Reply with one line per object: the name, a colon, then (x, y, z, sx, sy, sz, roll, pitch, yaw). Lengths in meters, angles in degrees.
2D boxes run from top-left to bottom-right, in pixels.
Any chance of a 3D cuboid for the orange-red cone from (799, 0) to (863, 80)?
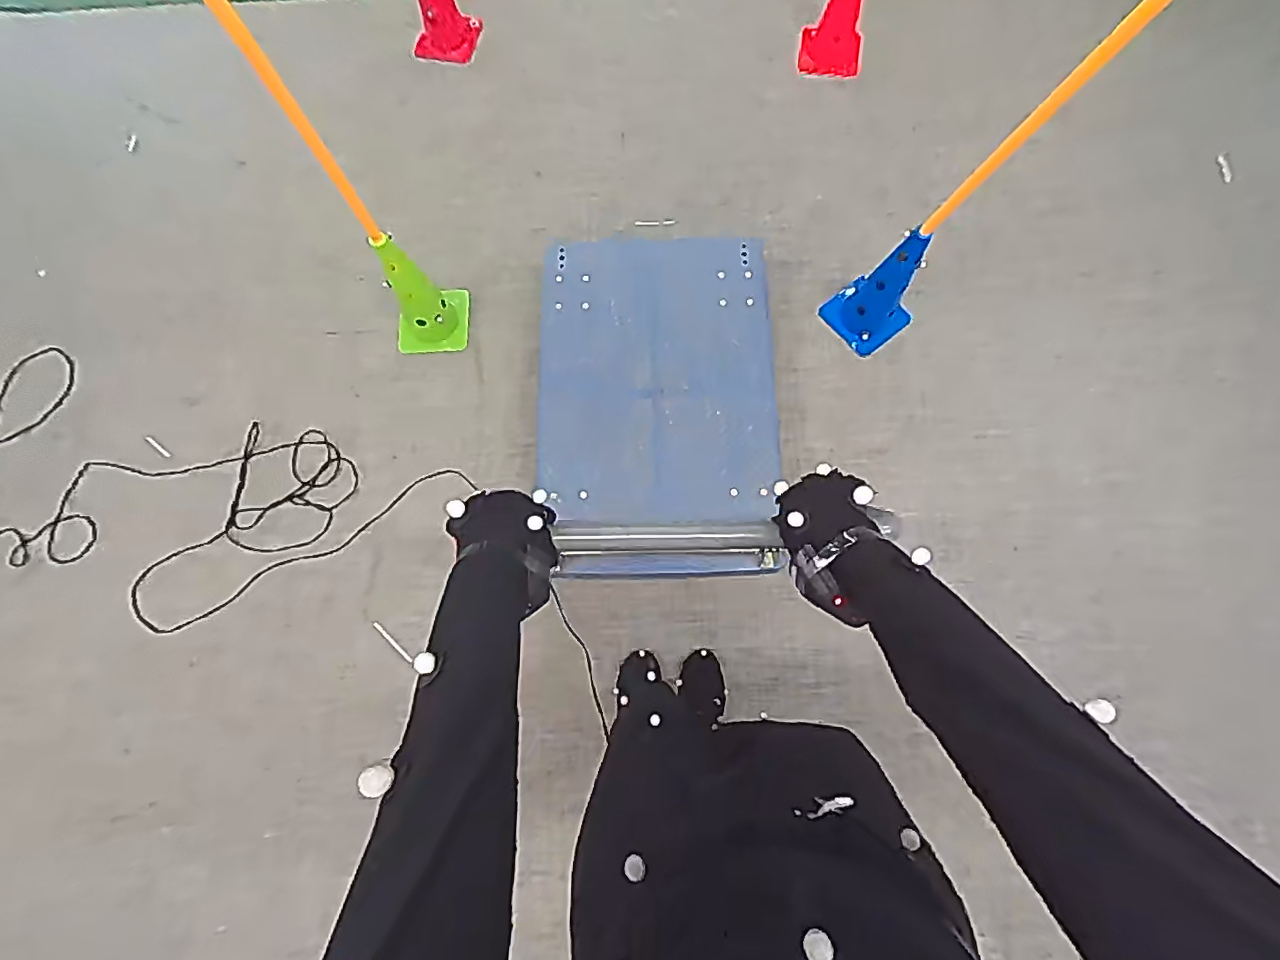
orange-red cone: (0.628, -1.456, 1.634, 0.198, 0.360, 0.199, 9, 77, 5)
